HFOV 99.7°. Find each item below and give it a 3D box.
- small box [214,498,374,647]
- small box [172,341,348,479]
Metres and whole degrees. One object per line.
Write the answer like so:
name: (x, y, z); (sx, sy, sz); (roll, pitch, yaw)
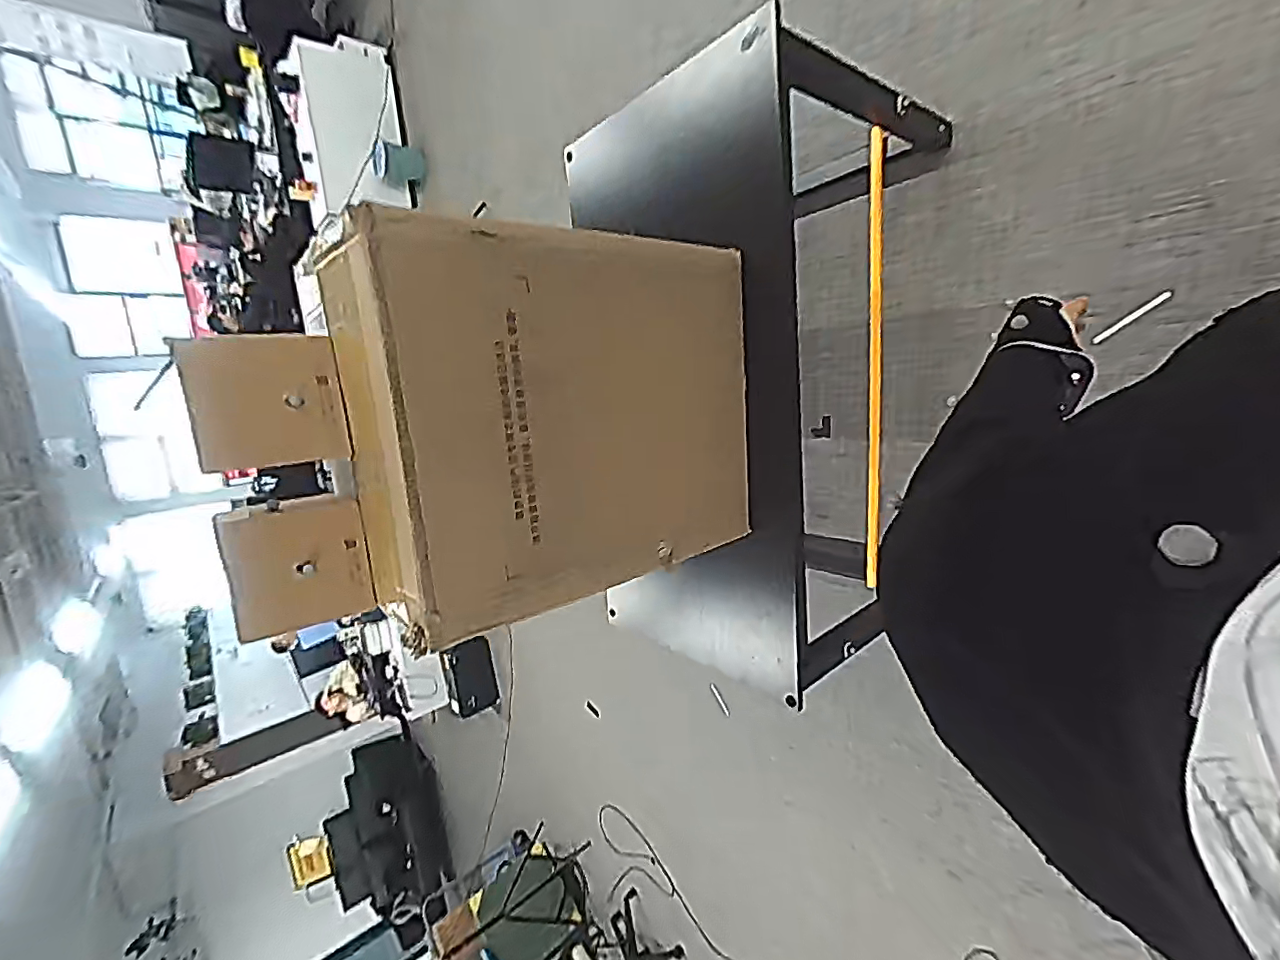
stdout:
small box: (-0.508, 0.123, 0.804); (0.179, 0.176, 0.168); (2, 101, 52)
small box: (-0.522, -0.100, 0.757); (0.179, 0.176, 0.168); (6, 105, 52)
